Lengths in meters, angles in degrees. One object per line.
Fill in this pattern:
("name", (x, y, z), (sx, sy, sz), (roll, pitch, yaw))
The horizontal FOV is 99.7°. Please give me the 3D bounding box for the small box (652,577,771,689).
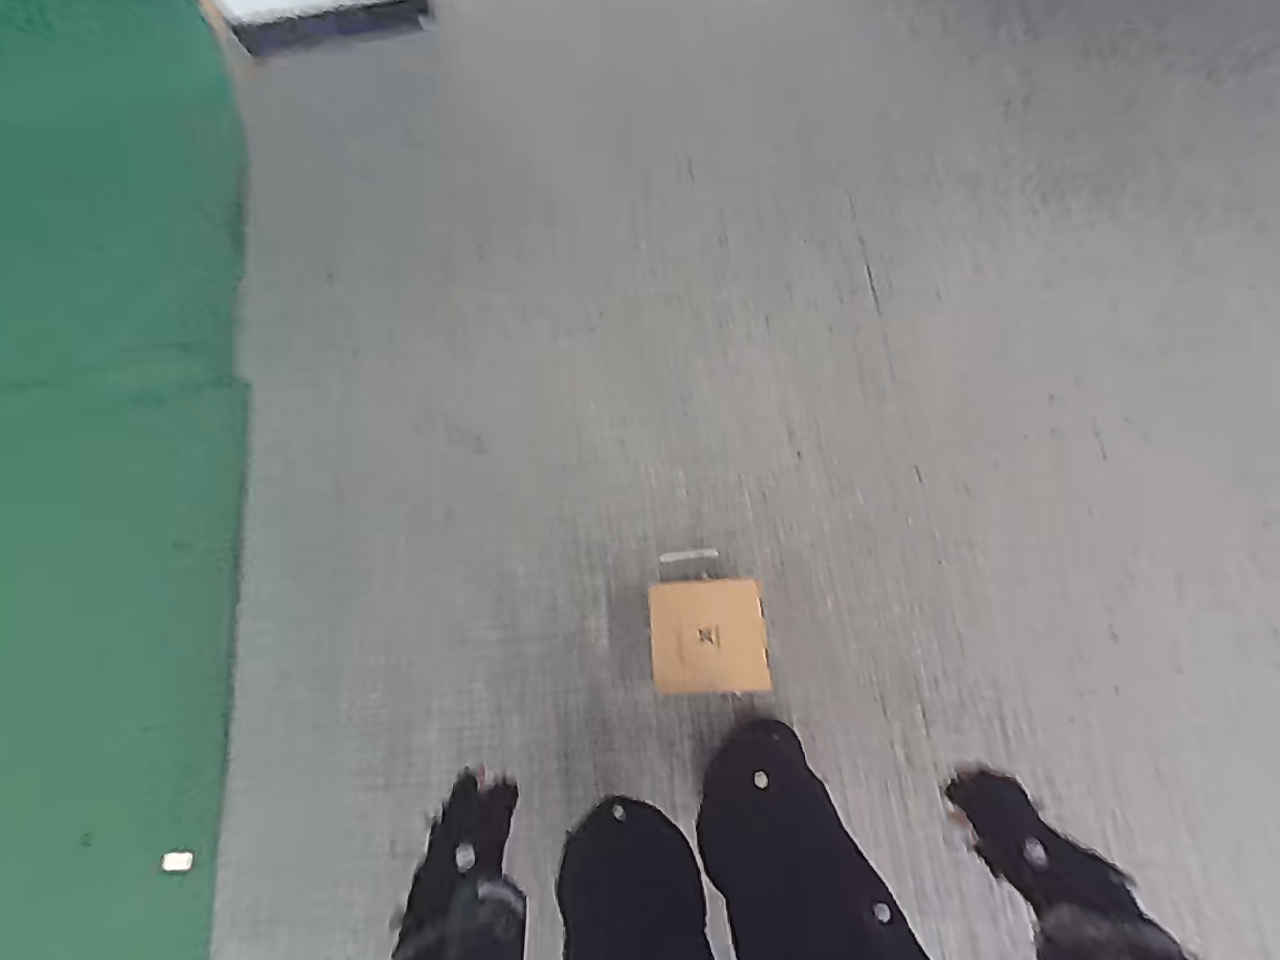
("small box", (0.115, 0.254, 0.913), (0.179, 0.176, 0.168), (-5, 75, 5))
